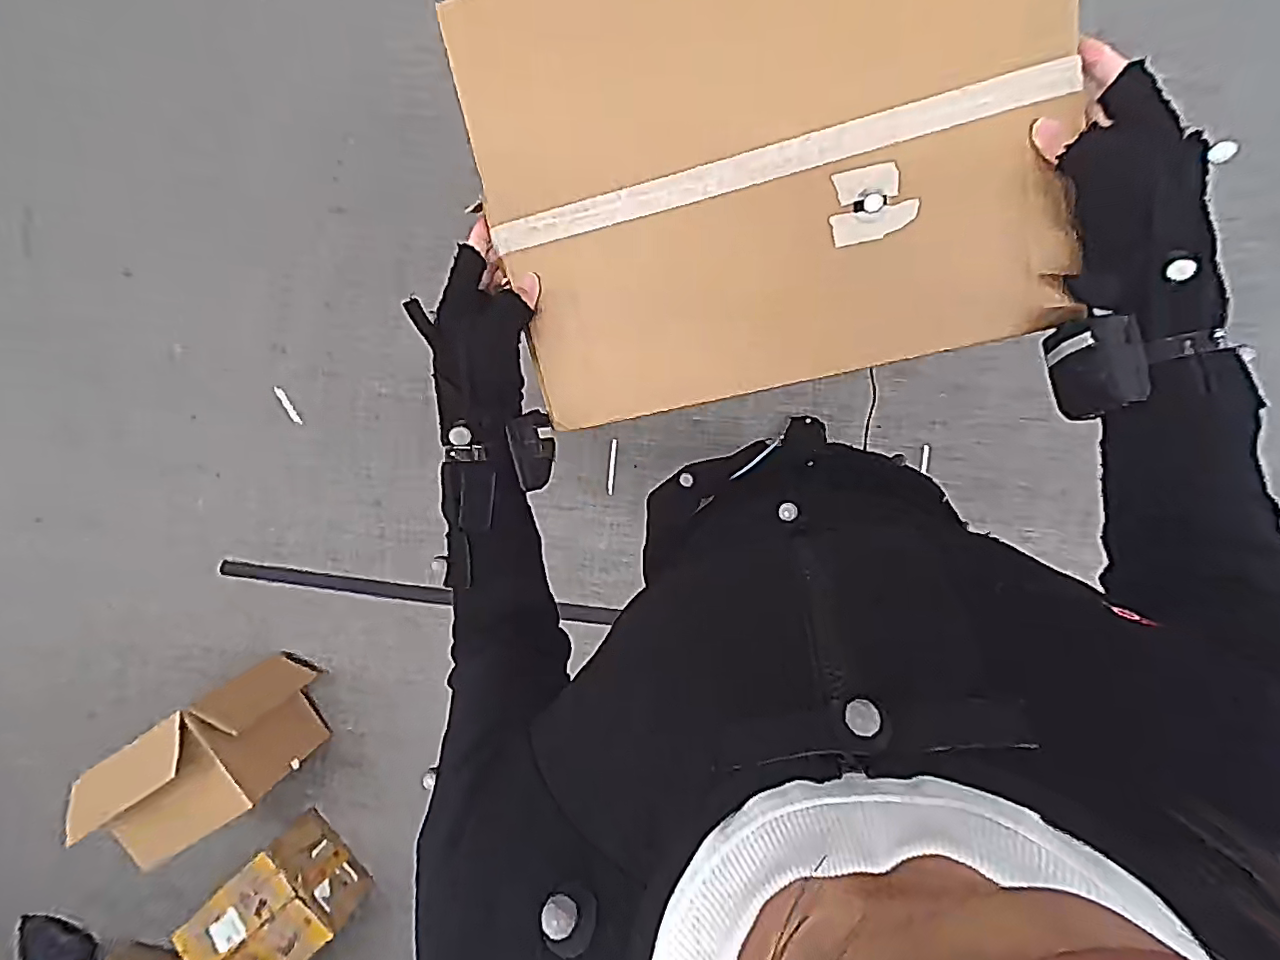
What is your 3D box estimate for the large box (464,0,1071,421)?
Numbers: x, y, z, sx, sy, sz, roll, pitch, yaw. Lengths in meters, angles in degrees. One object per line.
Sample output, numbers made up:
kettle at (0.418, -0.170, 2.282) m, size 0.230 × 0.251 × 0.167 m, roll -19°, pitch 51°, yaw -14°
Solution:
large box at (0.109, -0.270, 0.541) m, size 0.408 × 0.320 × 0.320 m, roll -11°, pitch 105°, yaw 10°
